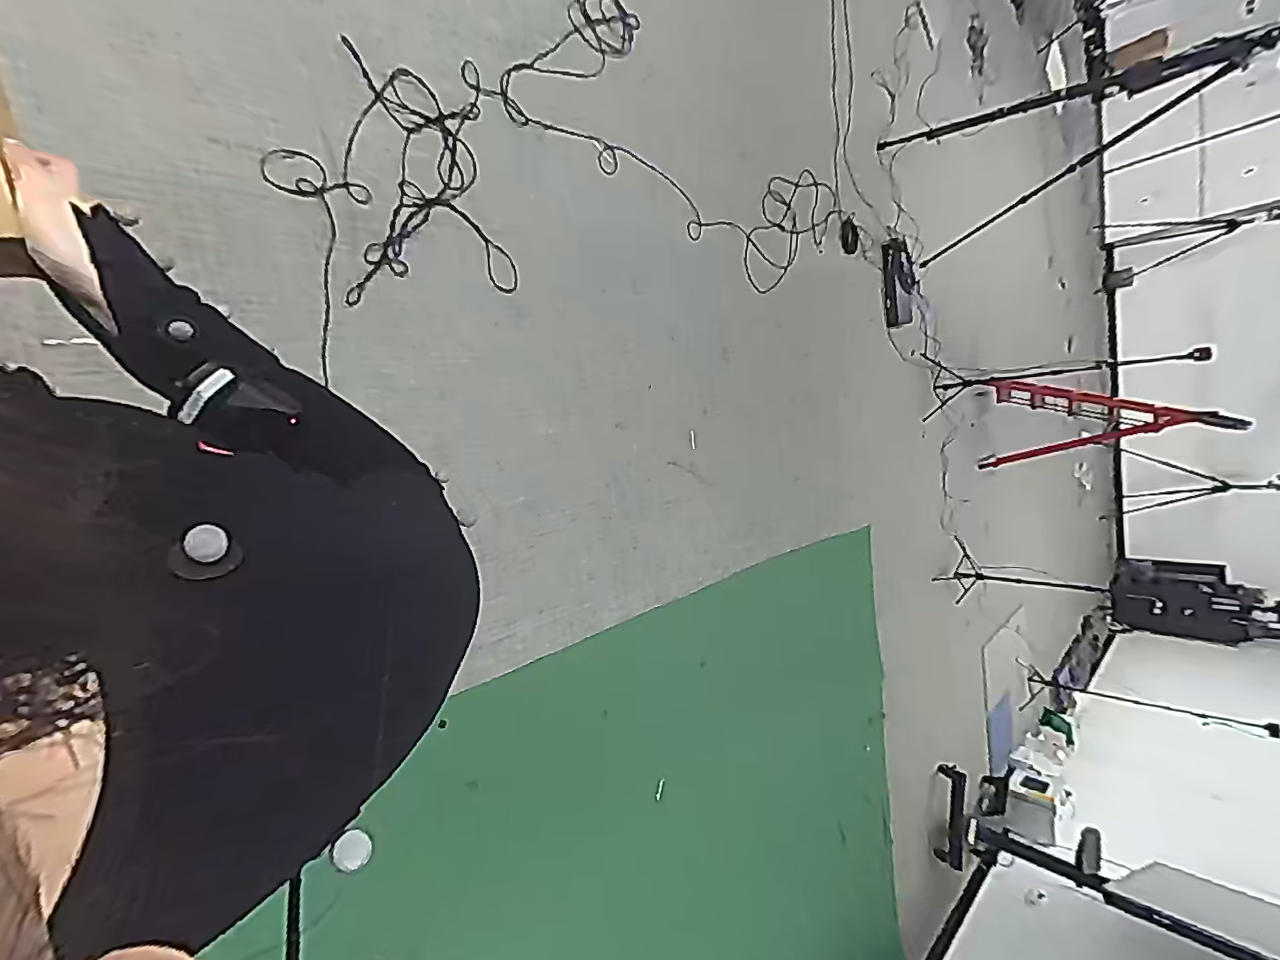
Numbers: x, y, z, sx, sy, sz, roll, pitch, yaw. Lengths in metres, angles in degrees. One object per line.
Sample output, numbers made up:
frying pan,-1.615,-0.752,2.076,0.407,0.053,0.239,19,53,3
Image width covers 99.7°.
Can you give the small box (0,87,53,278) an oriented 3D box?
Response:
small box,-0.489,-0.219,0.312,0.168,0.176,0.179,-16,107,-39
